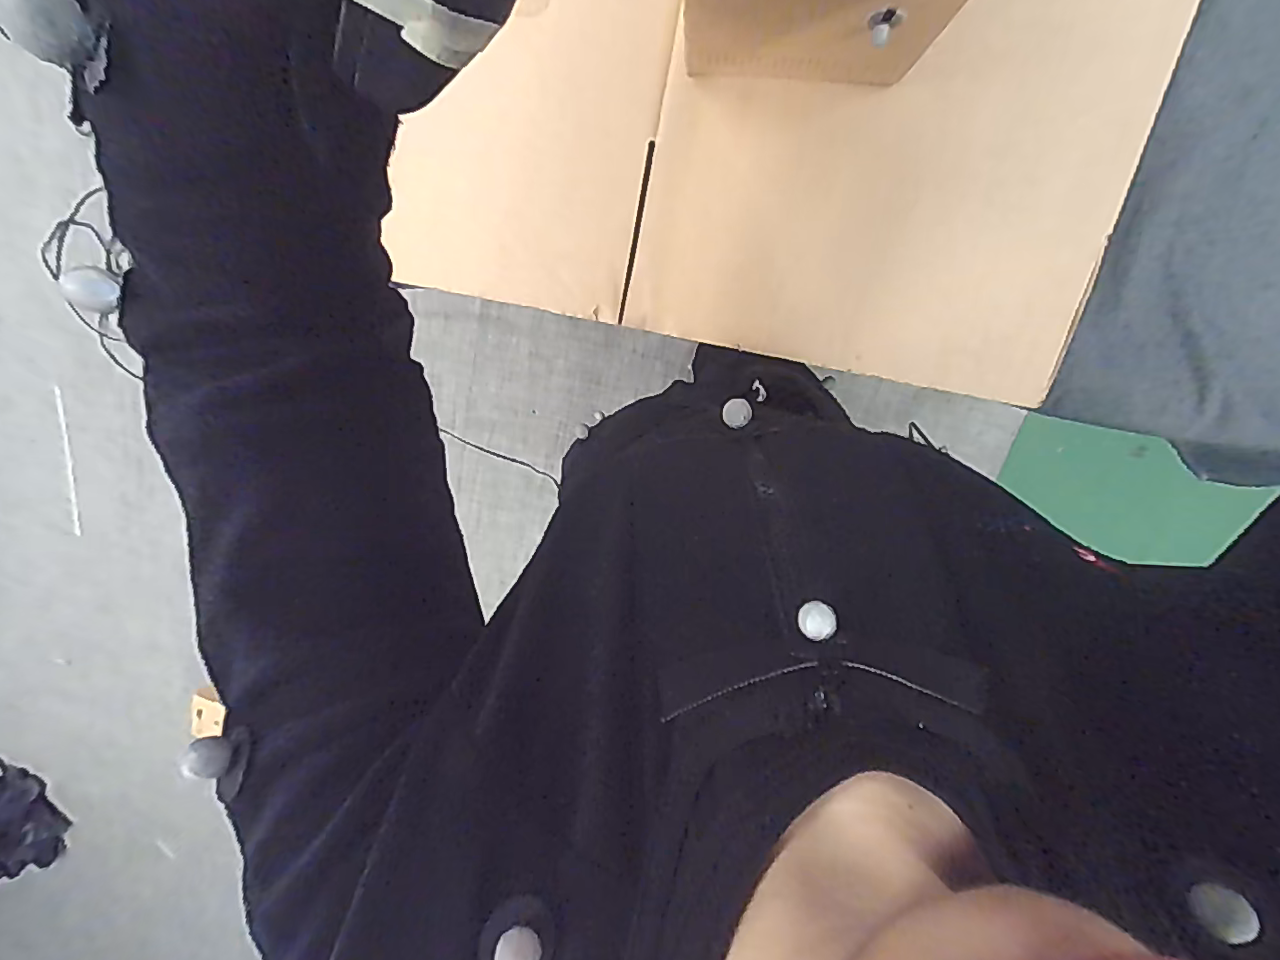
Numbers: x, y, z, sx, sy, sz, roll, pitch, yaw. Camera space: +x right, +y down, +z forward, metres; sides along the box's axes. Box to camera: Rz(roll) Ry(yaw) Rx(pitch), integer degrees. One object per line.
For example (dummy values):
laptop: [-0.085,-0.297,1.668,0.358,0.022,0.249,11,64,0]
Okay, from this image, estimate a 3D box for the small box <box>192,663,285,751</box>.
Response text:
small box: [-1.260,0.708,1.705,0.179,0.176,0.168,17,108,0]

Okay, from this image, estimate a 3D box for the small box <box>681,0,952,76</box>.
small box: [0.120,-0.384,0.336,0.179,0.176,0.168,5,104,4]
